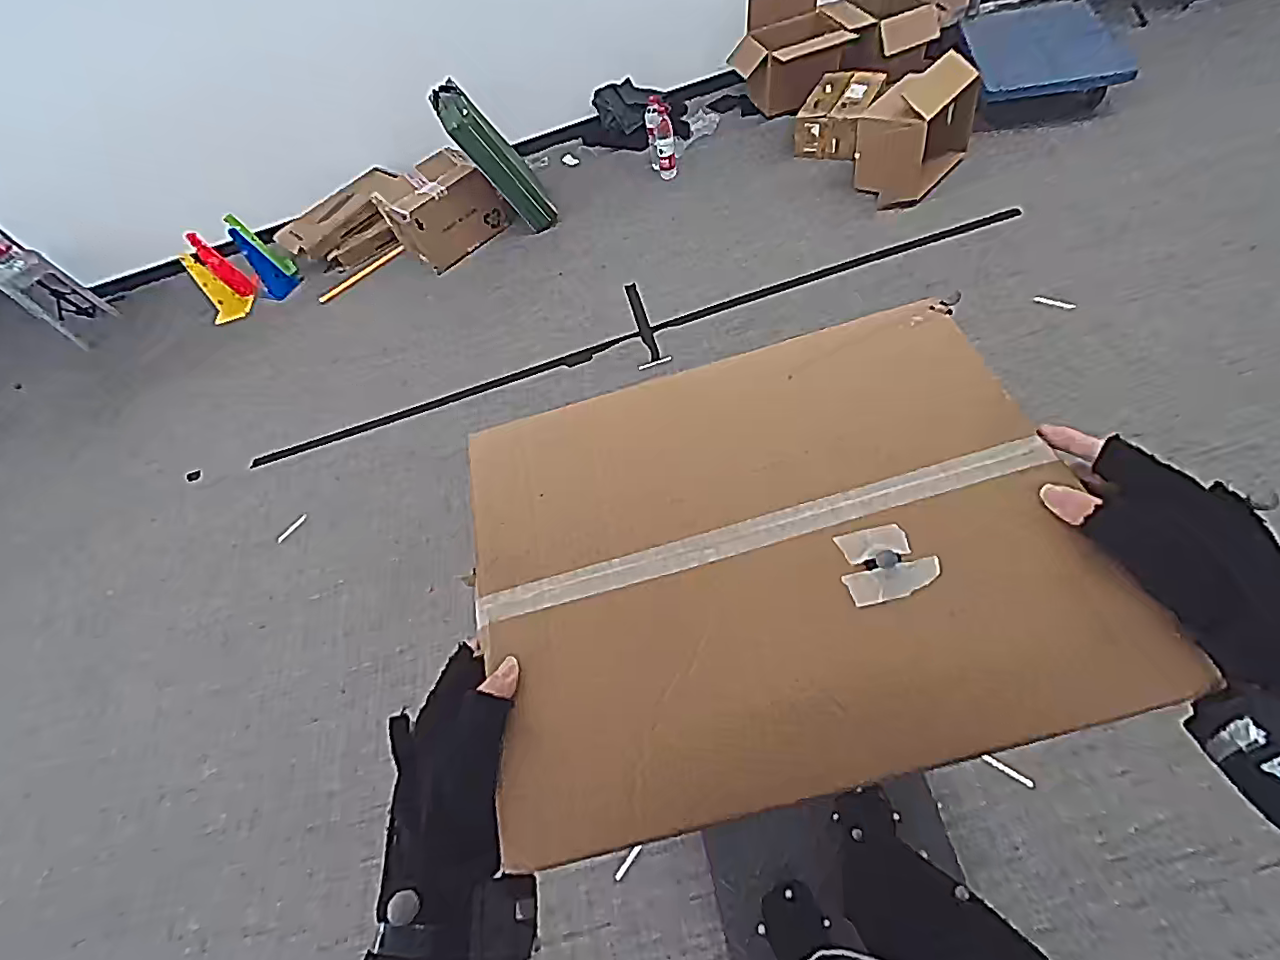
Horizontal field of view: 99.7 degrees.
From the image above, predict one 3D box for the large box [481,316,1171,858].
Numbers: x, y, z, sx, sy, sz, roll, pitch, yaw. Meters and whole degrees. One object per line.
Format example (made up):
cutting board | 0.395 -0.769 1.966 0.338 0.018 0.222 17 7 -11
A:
large box | 0.109 0.114 0.519 0.408 0.320 0.320 -17 60 2
